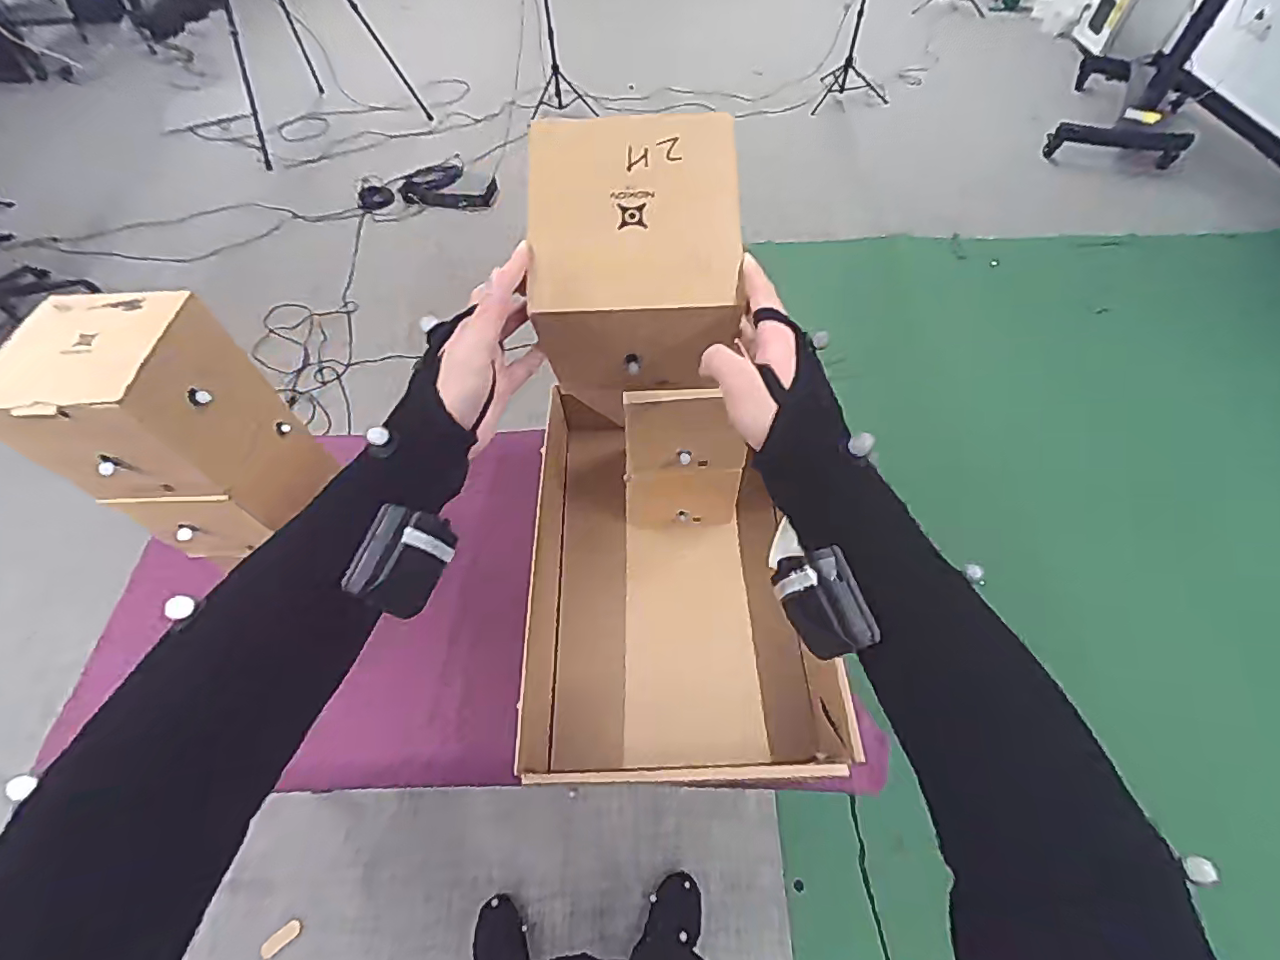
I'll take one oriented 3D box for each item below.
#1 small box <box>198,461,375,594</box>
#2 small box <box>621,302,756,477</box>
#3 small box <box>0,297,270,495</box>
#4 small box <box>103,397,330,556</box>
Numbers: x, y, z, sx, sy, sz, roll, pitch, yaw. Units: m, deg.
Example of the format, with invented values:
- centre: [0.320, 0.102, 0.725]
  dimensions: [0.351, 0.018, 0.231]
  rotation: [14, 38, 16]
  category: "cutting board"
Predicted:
- centre: [-0.577, 0.087, 0.915]
  dimensions: [0.168, 0.176, 0.179]
  rotation: [-1, 57, 0]
  category: "small box"
- centre: [0.060, -0.123, 0.763]
  dimensions: [0.168, 0.176, 0.179]
  rotation: [-4, 59, 2]
  category: "small box"
- centre: [-0.586, -0.091, 0.642]
  dimensions: [0.168, 0.176, 0.179]
  rotation: [-2, 57, 0]
  category: "small box"
- centre: [-0.582, 0.003, 0.777]
  dimensions: [0.168, 0.176, 0.179]
  rotation: [-2, 57, 0]
  category: "small box"
